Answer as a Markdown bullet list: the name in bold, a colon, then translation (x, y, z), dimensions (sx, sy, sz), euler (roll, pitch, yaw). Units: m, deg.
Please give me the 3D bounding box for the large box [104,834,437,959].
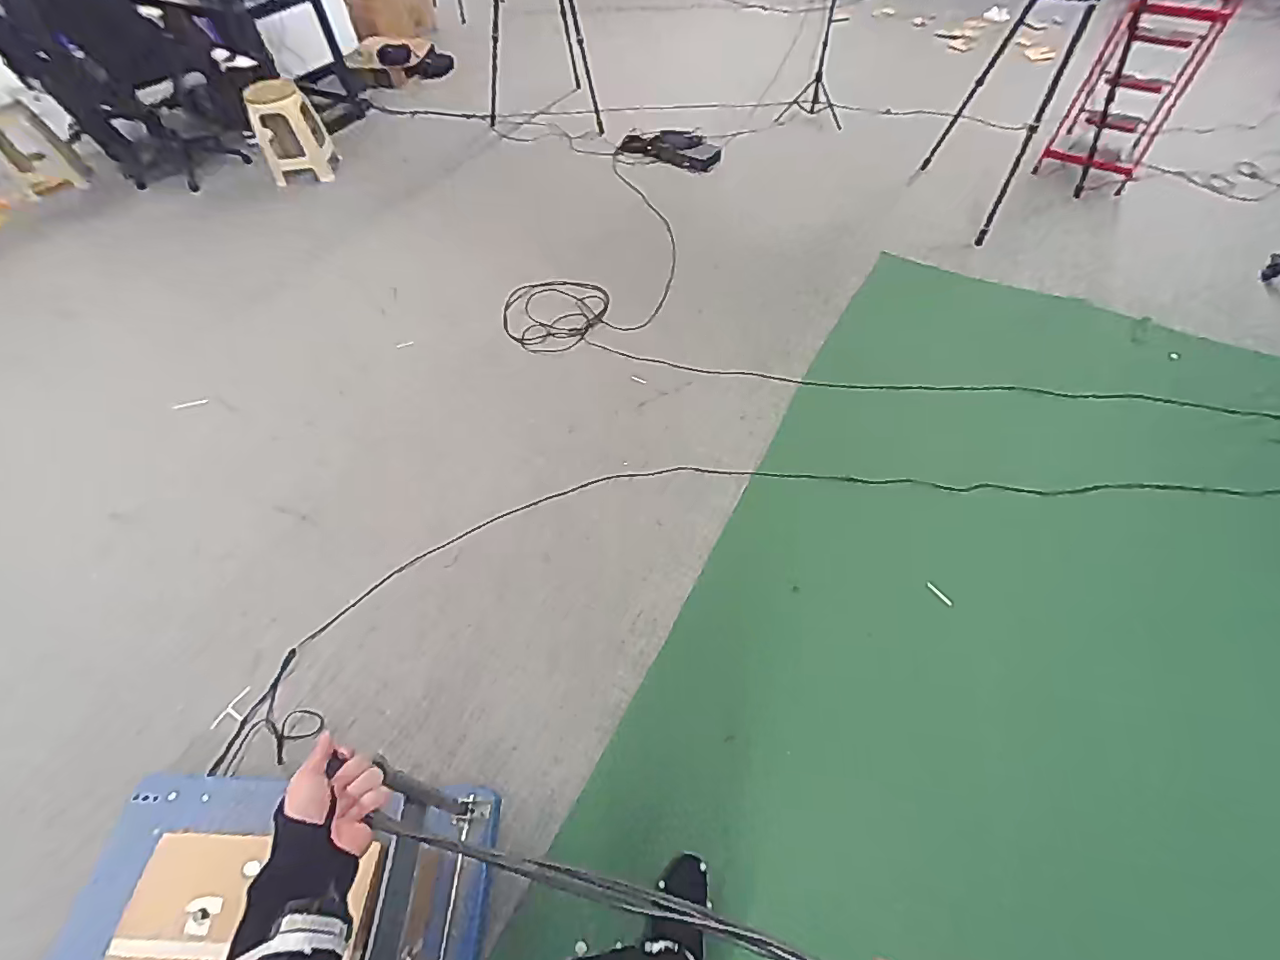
- **large box**: translation (-0.641, 0.835, 0.974), dimensions (0.408, 0.320, 0.320), euler (0, 53, 4)
